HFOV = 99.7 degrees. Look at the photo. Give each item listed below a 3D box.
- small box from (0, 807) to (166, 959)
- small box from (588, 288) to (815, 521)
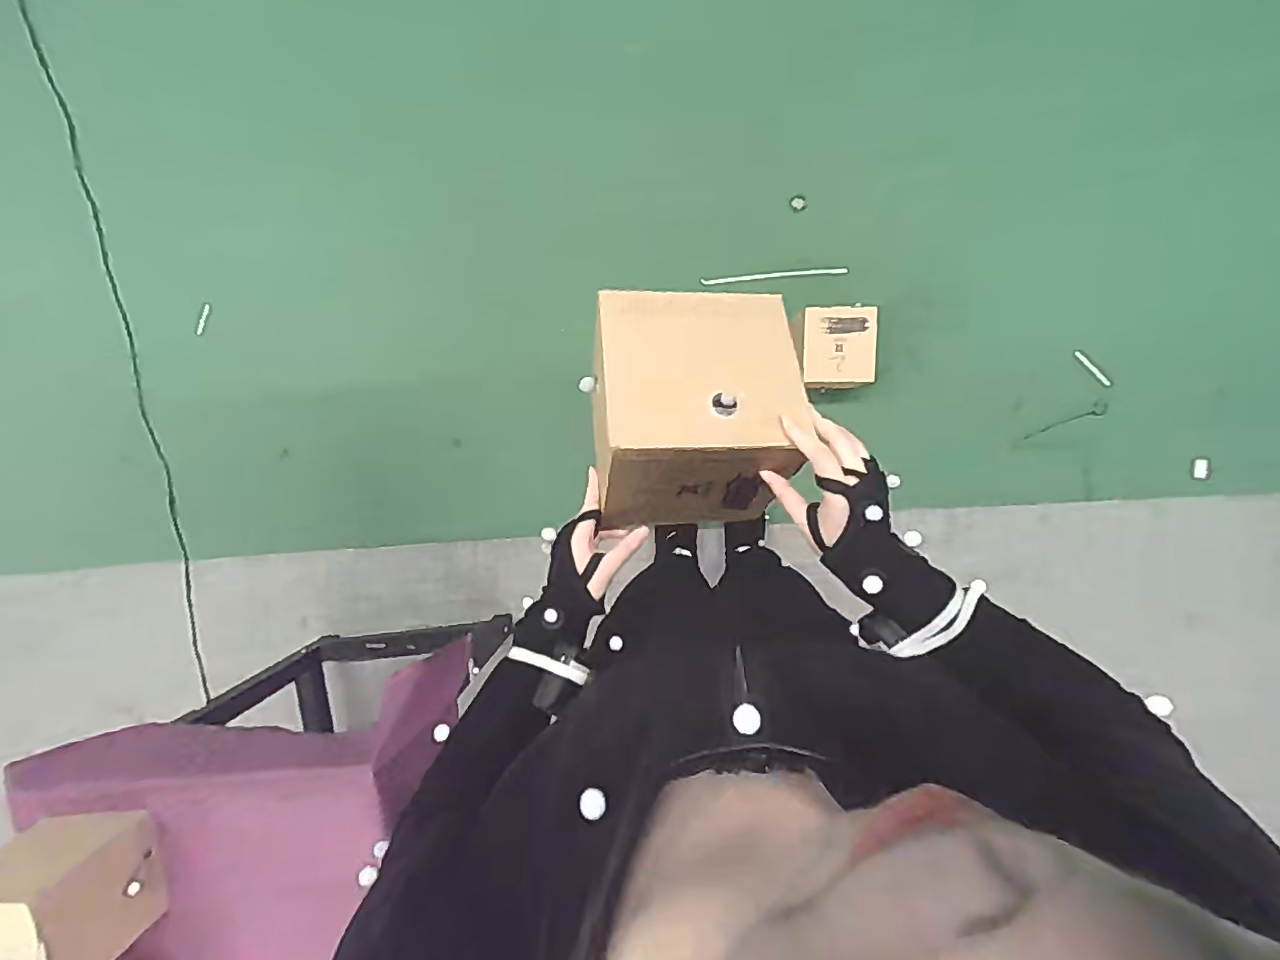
[{"bbox_3d":[-0.834,0.596,0.763,0.179,0.176,0.168,-5,95,1],"label":"small box"},{"bbox_3d":[0.043,-0.068,0.532,0.179,0.168,0.176,0,65,-8],"label":"small box"}]
